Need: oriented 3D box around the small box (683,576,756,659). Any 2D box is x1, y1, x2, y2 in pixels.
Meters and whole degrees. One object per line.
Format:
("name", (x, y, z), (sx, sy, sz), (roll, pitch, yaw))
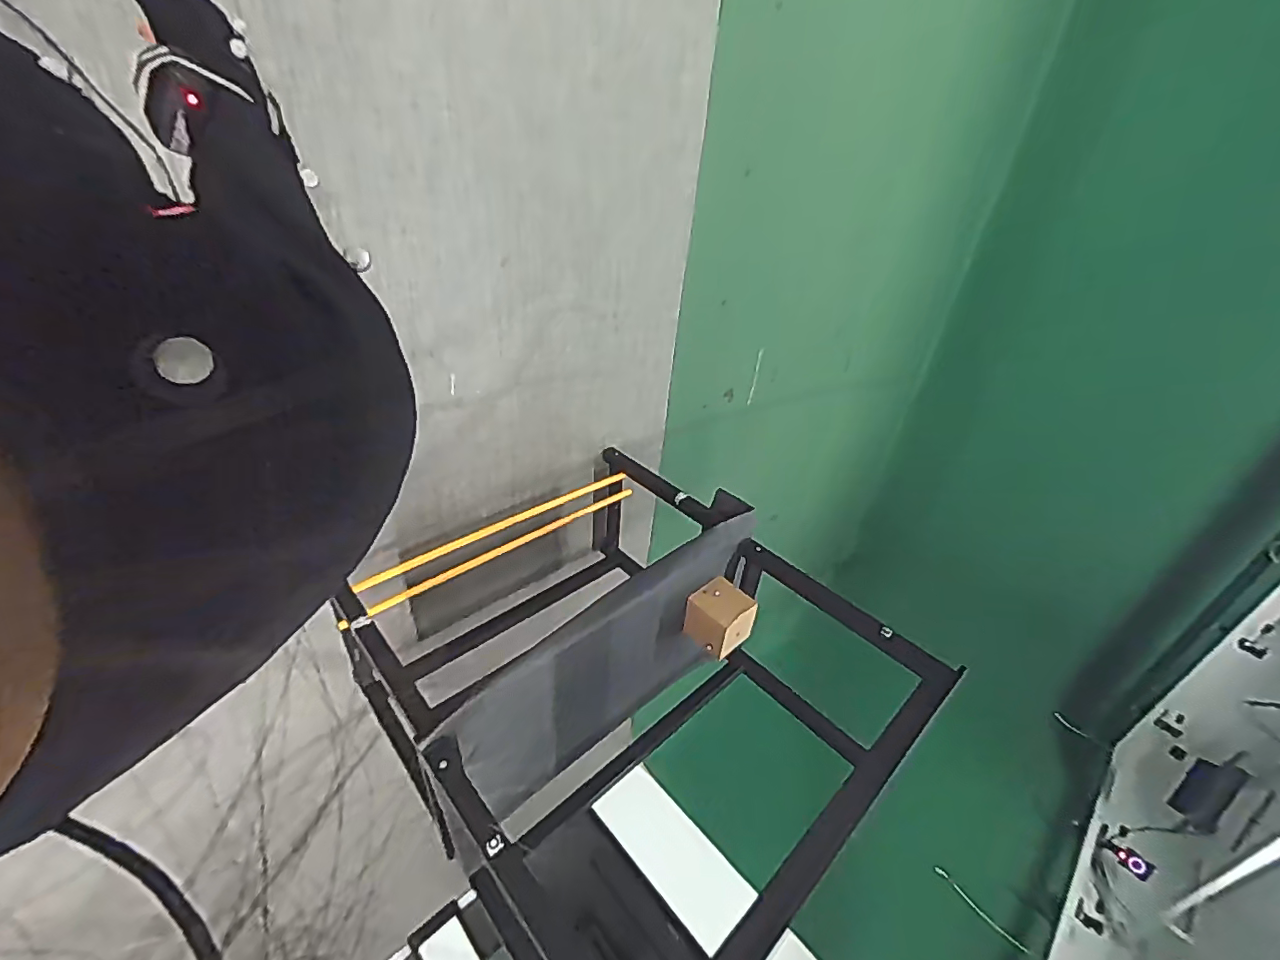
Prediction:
("small box", (0.263, 0.458, 1.825), (0.168, 0.176, 0.179), (-26, 136, -35))
